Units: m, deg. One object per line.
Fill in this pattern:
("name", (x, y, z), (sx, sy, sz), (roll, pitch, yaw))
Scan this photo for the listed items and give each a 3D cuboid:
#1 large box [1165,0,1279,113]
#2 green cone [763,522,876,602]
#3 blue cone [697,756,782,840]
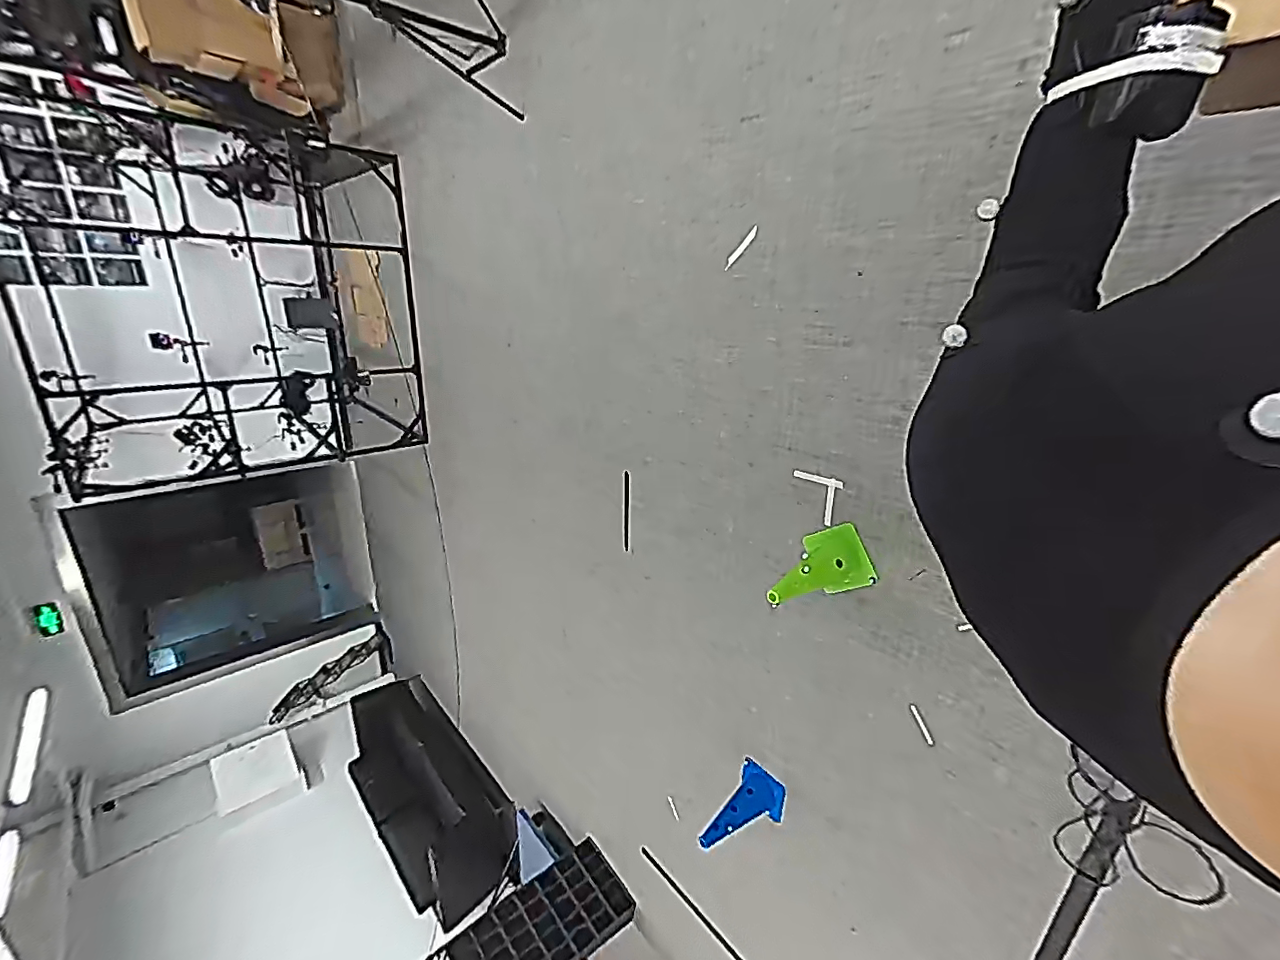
("large box", (0.583, -0.422, 0.264), (0.408, 0.320, 0.320), (20, 122, 43))
("green cone", (0.496, 0.280, 1.608), (0.202, 0.368, 0.200), (-34, 75, 51))
("blue cone", (0.371, 1.286, 2.111), (0.192, 0.380, 0.193), (28, 122, 44))
